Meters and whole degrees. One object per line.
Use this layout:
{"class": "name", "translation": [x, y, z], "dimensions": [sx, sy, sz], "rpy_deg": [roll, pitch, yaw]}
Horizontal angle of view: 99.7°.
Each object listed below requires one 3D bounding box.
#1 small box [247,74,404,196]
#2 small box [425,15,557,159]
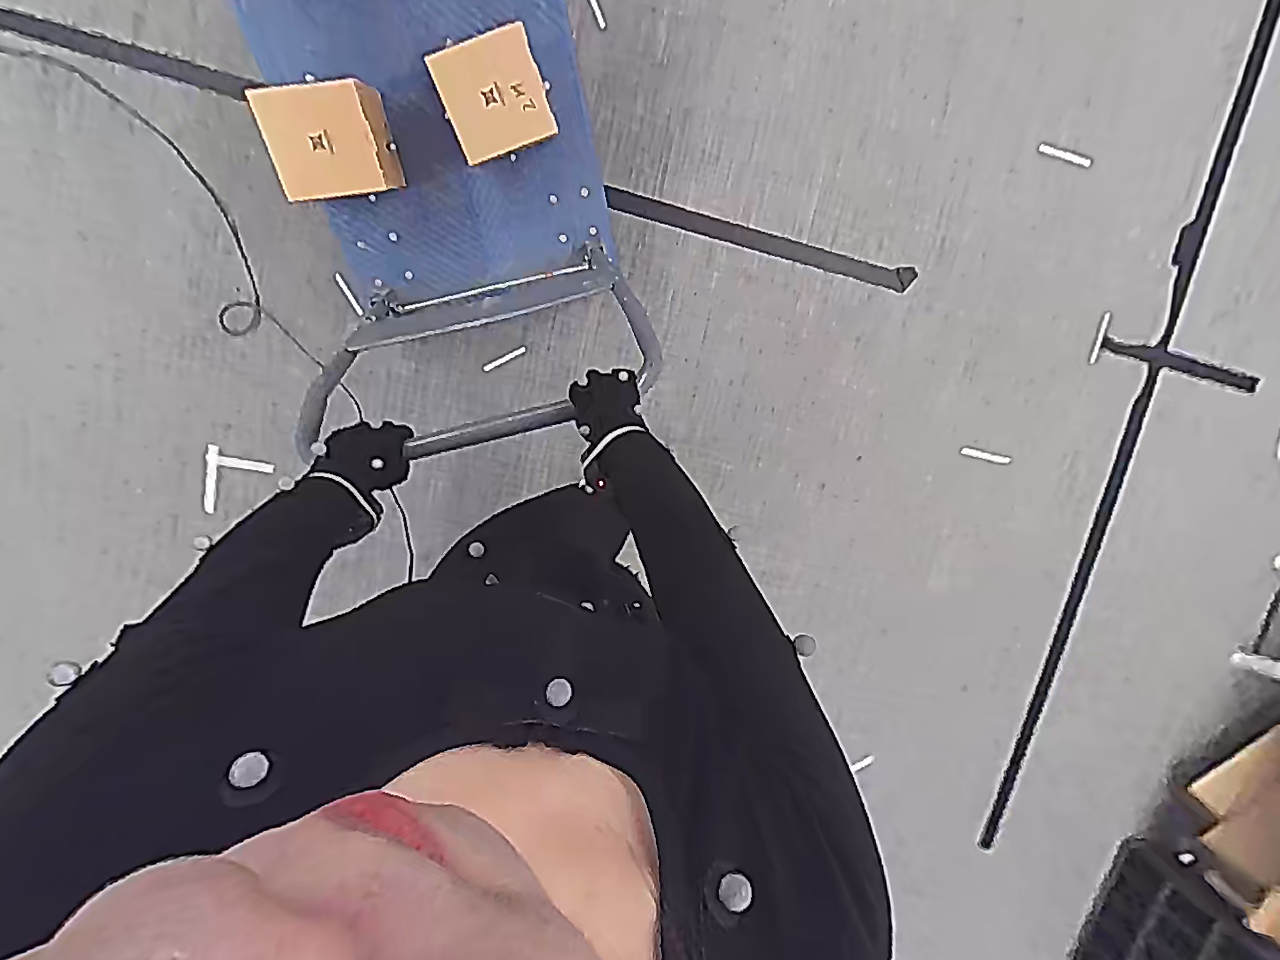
{"class": "small box", "translation": [-0.559, -0.624, 0.992], "dimensions": [0.179, 0.176, 0.168], "rpy_deg": [-12, 121, -6]}
{"class": "small box", "translation": [-0.263, -0.709, 0.997], "dimensions": [0.179, 0.176, 0.168], "rpy_deg": [-20, 122, 2]}
